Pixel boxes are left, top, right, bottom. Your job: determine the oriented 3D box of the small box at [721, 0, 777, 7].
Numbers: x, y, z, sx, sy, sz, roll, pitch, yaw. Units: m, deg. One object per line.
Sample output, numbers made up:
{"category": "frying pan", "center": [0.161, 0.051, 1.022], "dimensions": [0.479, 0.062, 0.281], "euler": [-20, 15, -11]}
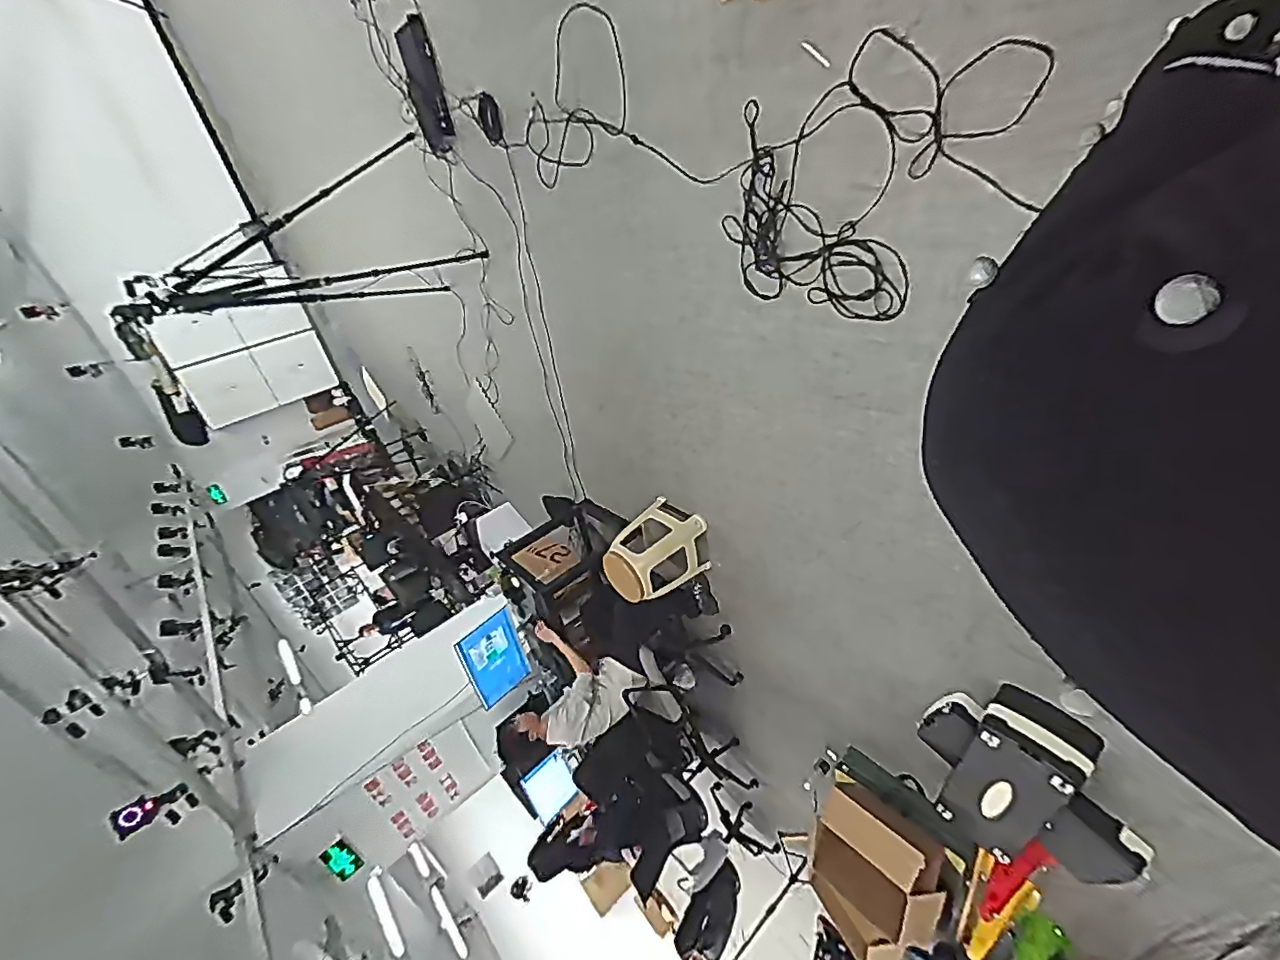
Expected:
{"category": "small box", "center": [0.295, -1.227, 1.247], "dimensions": [0.179, 0.176, 0.168], "euler": [18, 132, 48]}
